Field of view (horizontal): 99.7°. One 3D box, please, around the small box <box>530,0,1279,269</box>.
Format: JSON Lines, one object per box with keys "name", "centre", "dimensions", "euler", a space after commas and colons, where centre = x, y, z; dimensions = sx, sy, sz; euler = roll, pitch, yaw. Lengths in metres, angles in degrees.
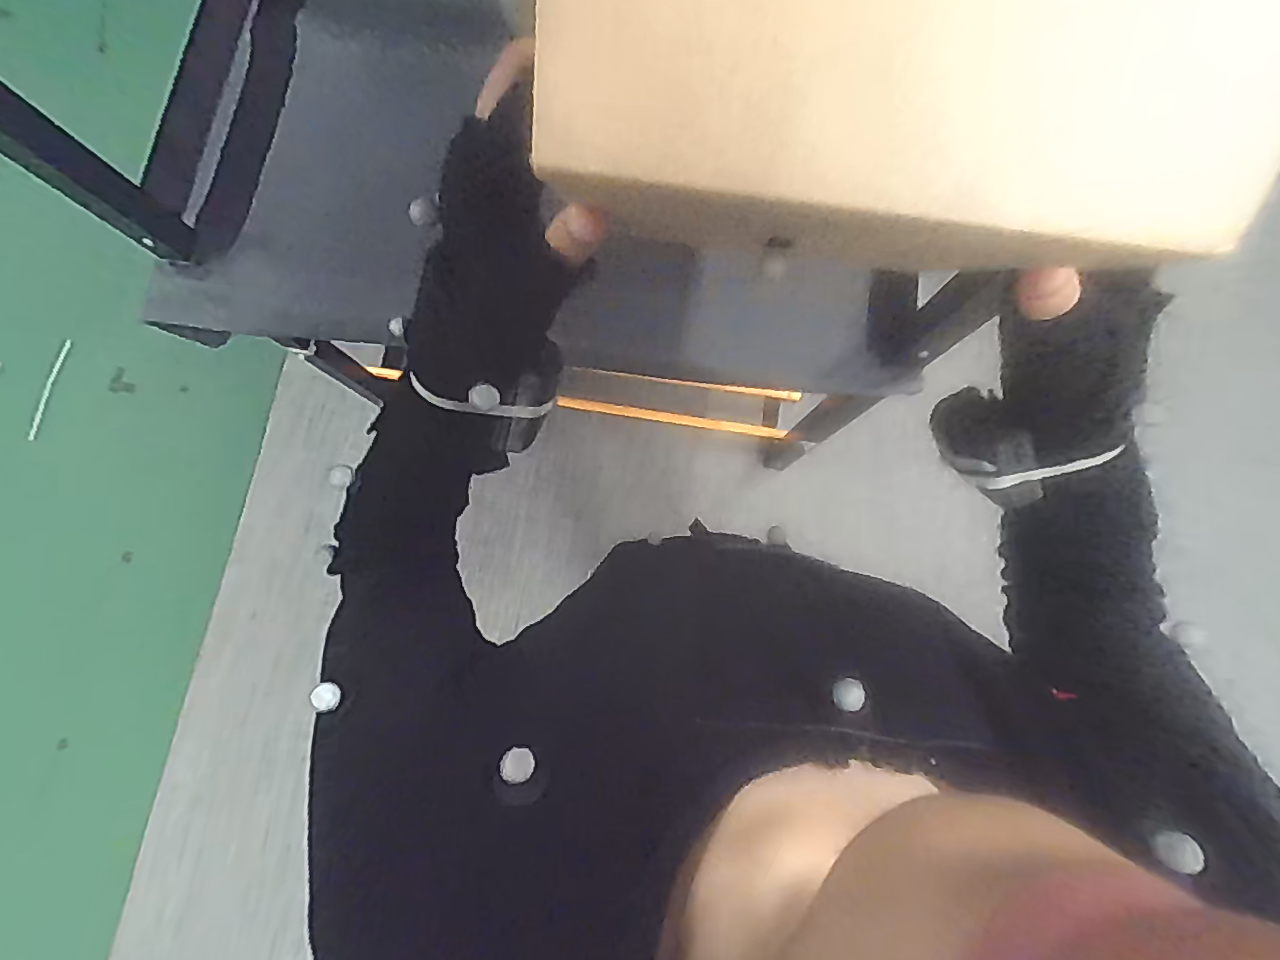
{"name": "small box", "centre": [0.067, -0.171, 0.174], "dimensions": [0.168, 0.176, 0.179], "euler": [7, 111, -2]}
